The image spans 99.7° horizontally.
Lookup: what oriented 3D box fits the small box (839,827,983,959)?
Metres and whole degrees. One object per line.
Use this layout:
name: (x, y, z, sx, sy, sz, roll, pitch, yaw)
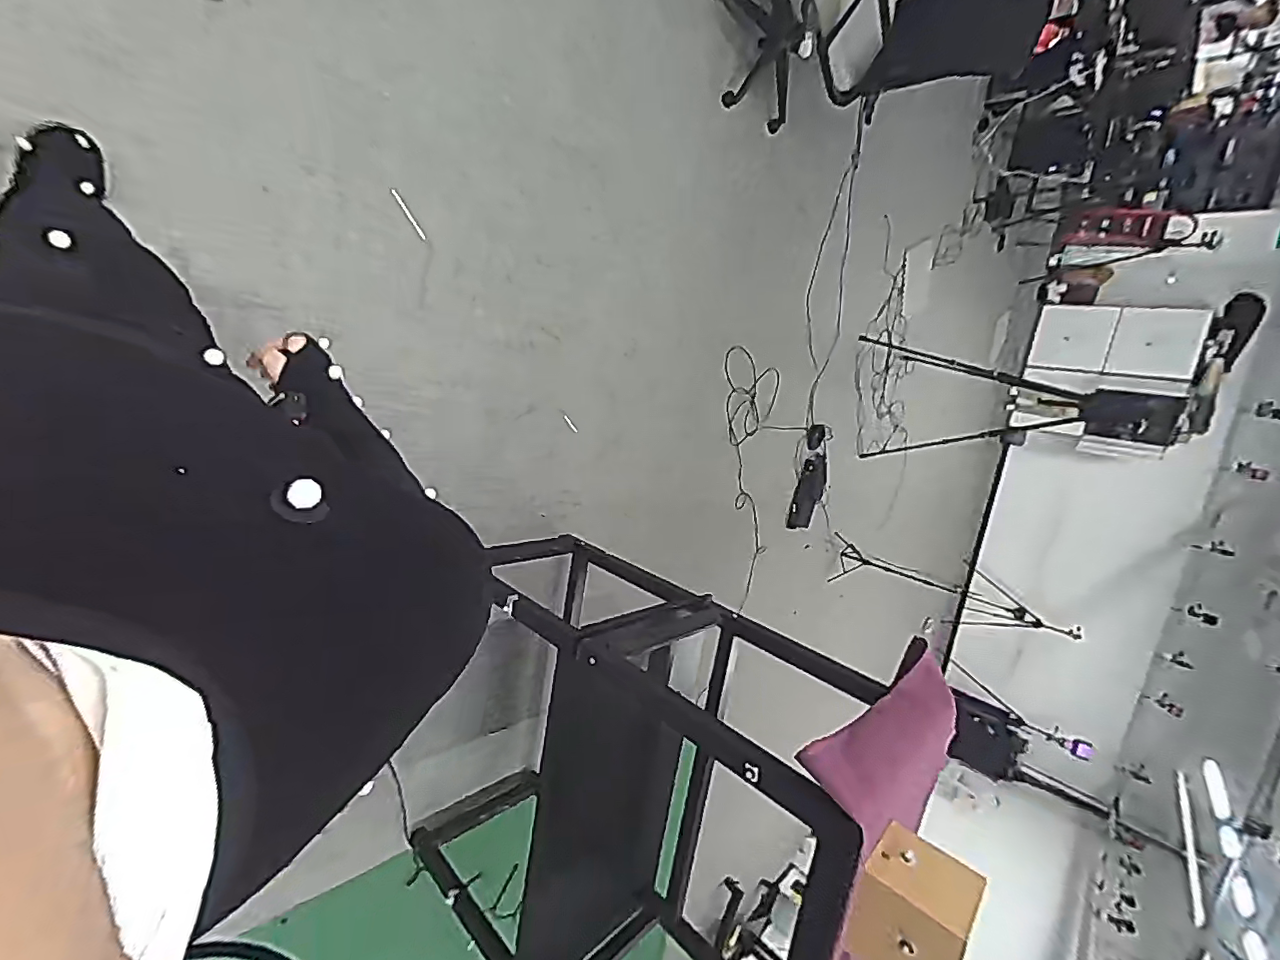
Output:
small box: (0.474, 0.773, 0.958, 0.168, 0.176, 0.179, -4, 106, -47)
